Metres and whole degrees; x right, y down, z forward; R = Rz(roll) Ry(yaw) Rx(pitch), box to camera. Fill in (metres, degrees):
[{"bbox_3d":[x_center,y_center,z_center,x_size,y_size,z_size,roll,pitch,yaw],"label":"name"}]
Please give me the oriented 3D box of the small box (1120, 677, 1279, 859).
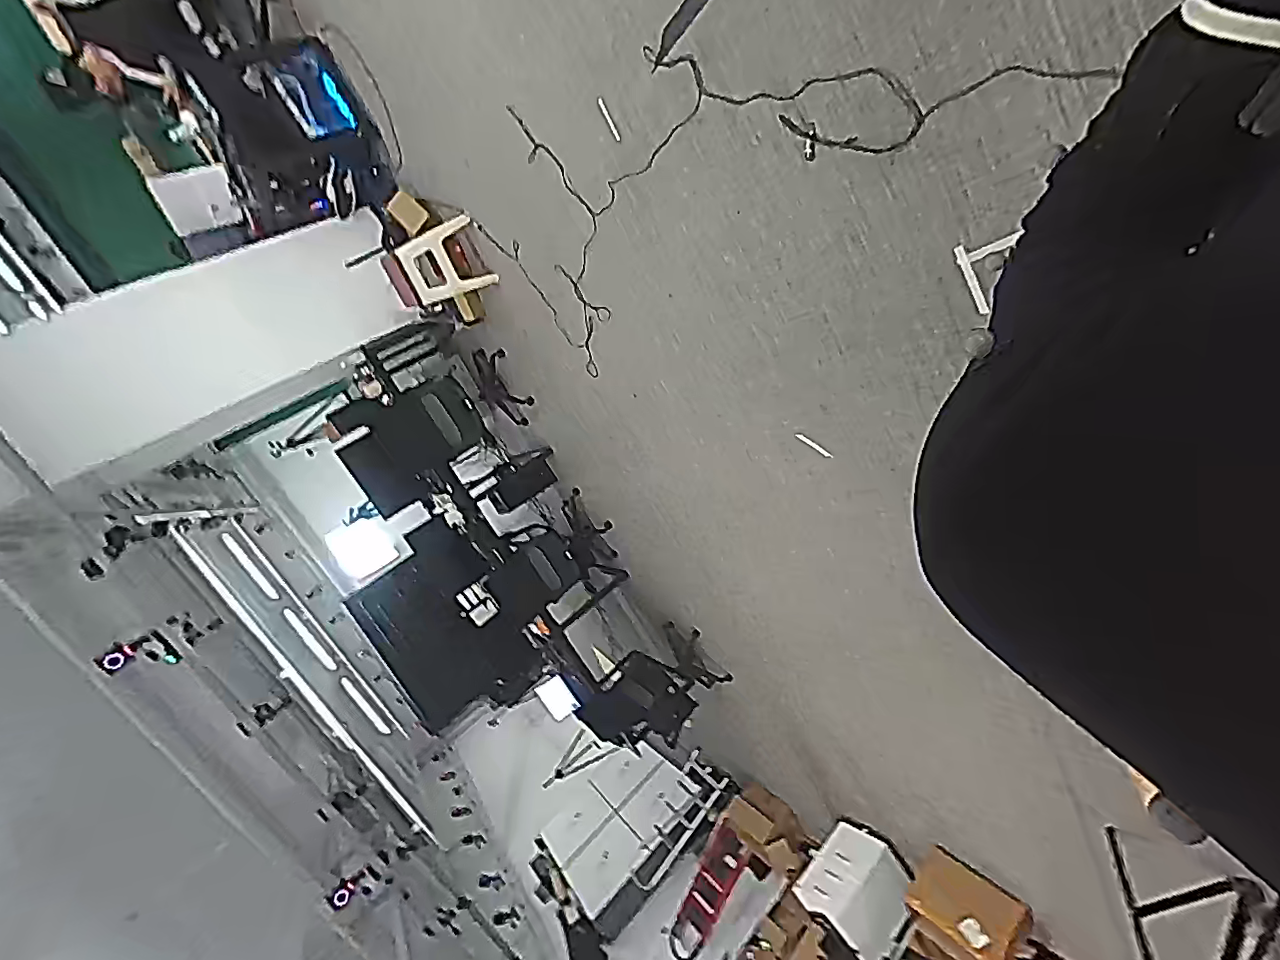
[{"bbox_3d":[0.927,0.444,0.859,0.168,0.176,0.179,60,157,-10],"label":"small box"}]
